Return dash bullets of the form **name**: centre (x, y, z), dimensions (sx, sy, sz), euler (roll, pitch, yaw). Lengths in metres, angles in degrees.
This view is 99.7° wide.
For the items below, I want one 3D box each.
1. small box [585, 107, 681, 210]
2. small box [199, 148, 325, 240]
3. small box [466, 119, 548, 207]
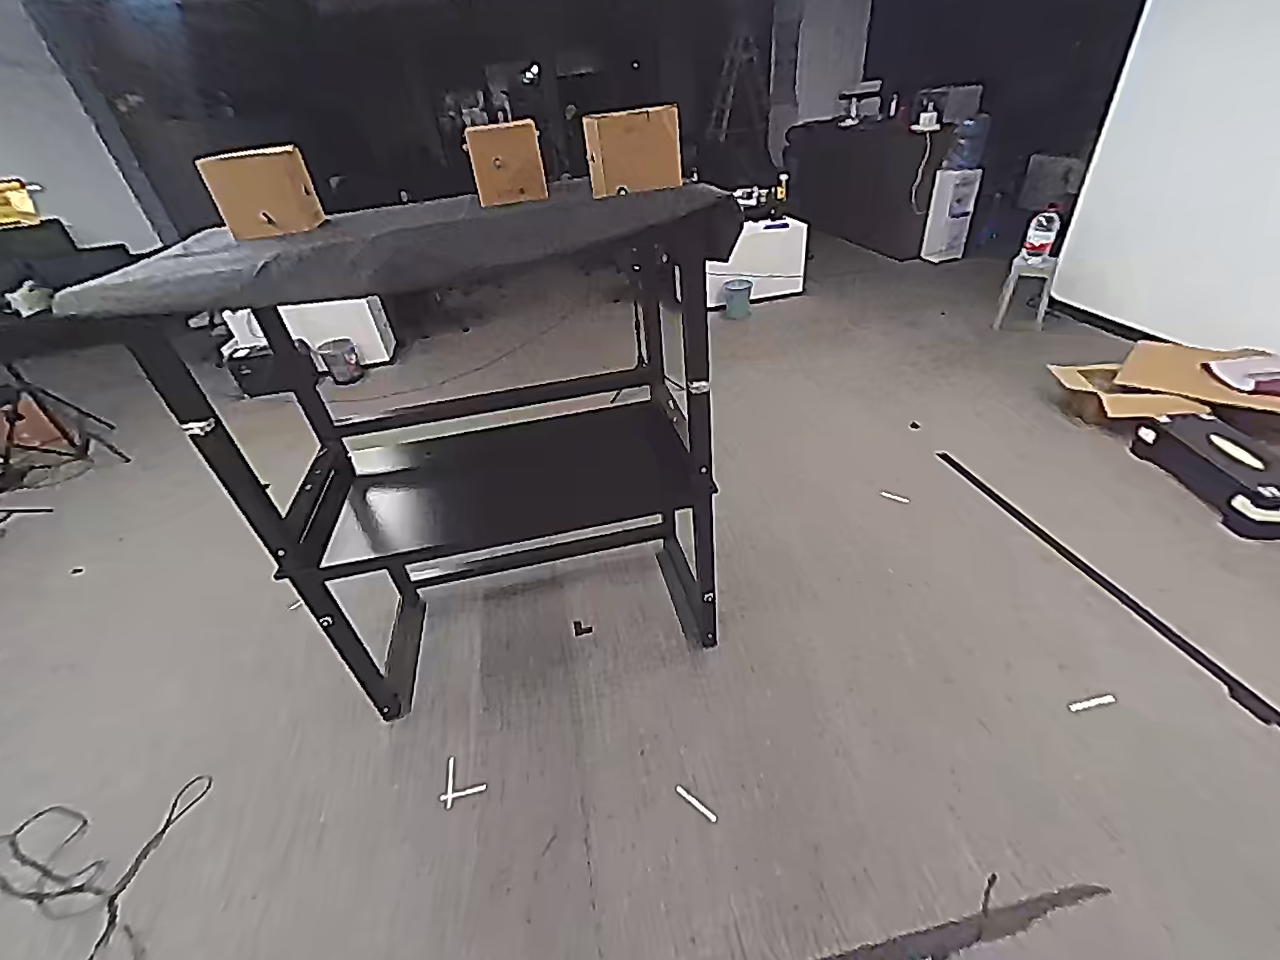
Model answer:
- **small box**: centre (-0.014, -0.692, 1.167), dimensions (0.168, 0.176, 0.179), euler (-13, 35, -8)
- **small box**: centre (-0.895, -0.691, 1.305), dimensions (0.179, 0.176, 0.168), euler (-11, 36, -9)
- **small box**: centre (-0.335, -0.807, 1.380), dimensions (0.168, 0.176, 0.179), euler (-12, 36, -7)
